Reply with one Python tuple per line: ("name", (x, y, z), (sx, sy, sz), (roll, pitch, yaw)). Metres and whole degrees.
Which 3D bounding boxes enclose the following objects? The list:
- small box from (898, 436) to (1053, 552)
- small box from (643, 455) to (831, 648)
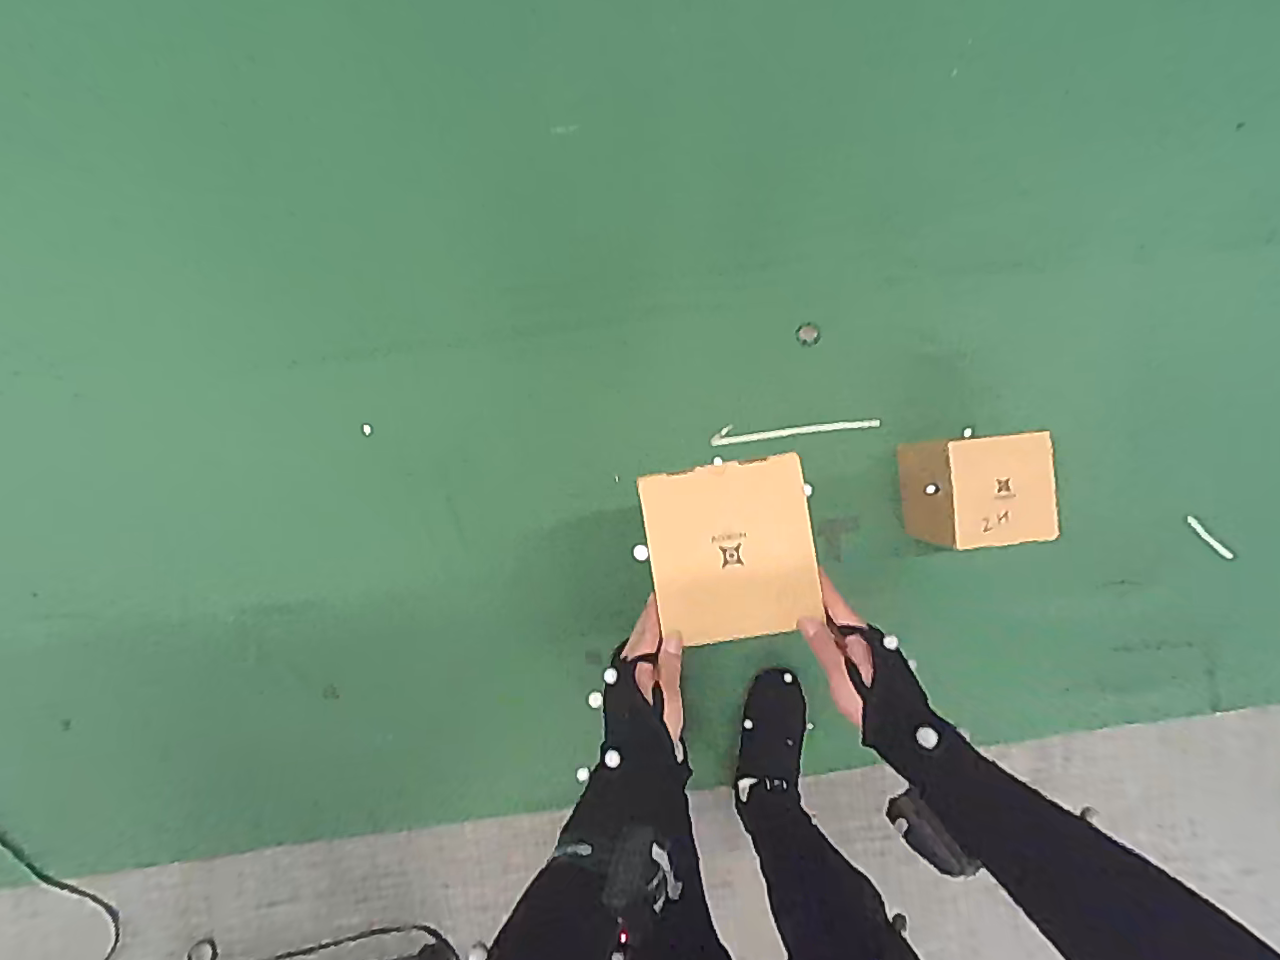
("small box", (0.570, 0.021, 0.941), (0.168, 0.176, 0.179), (-5, 92, -1))
("small box", (0.099, 0.074, 0.614), (0.168, 0.176, 0.179), (-9, 86, 2))
